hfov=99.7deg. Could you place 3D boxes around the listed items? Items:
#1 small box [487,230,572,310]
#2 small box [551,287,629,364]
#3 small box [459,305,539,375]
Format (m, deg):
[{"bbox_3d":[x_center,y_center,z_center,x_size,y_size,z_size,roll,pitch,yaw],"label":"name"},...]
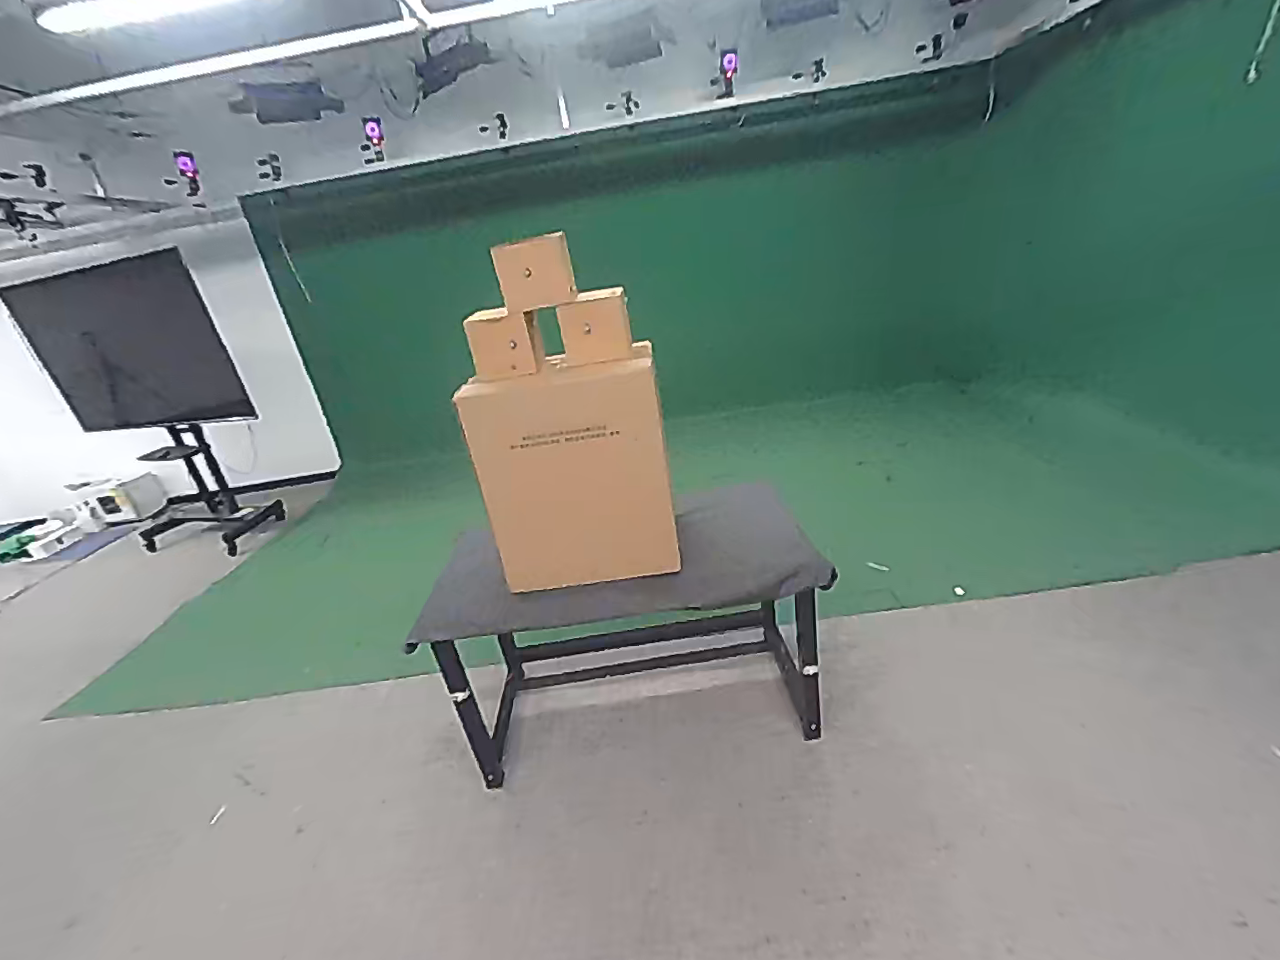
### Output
[{"bbox_3d":[-0.285,-0.560,1.445,0.179,0.176,0.168,-9,25,3],"label":"small box"},{"bbox_3d":[-0.133,-0.430,1.509,0.179,0.176,0.168,-8,26,4],"label":"small box"},{"bbox_3d":[-0.388,-0.396,1.520,0.168,0.176,0.179,-6,24,1],"label":"small box"}]
